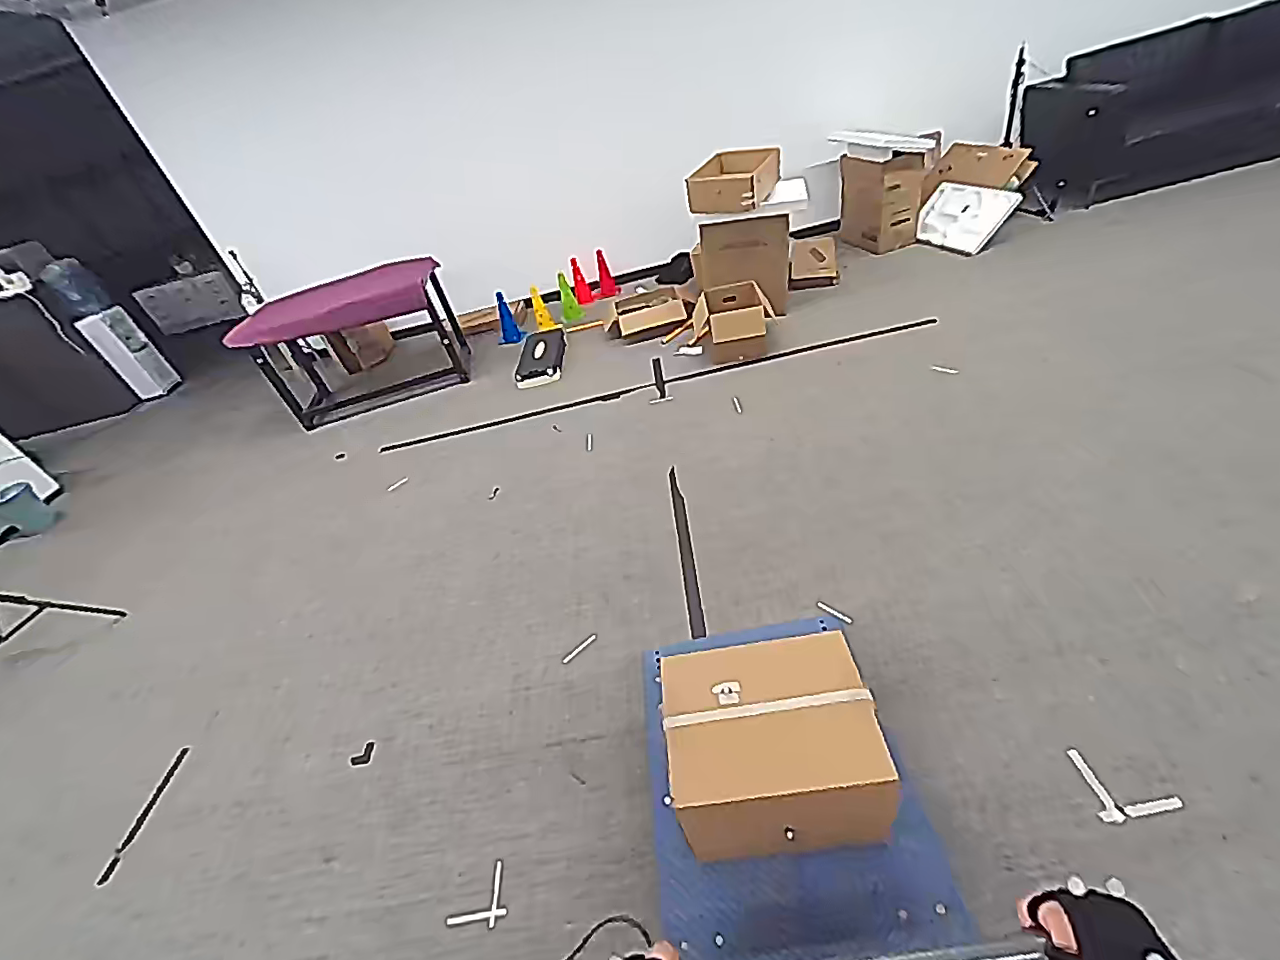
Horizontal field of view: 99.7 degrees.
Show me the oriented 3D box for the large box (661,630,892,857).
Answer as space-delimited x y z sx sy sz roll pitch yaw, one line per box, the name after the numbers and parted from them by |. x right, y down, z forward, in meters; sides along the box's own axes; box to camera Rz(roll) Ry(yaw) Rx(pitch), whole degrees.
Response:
0.281 0.577 1.181 0.408 0.320 0.320 -12 37 6 | large box
